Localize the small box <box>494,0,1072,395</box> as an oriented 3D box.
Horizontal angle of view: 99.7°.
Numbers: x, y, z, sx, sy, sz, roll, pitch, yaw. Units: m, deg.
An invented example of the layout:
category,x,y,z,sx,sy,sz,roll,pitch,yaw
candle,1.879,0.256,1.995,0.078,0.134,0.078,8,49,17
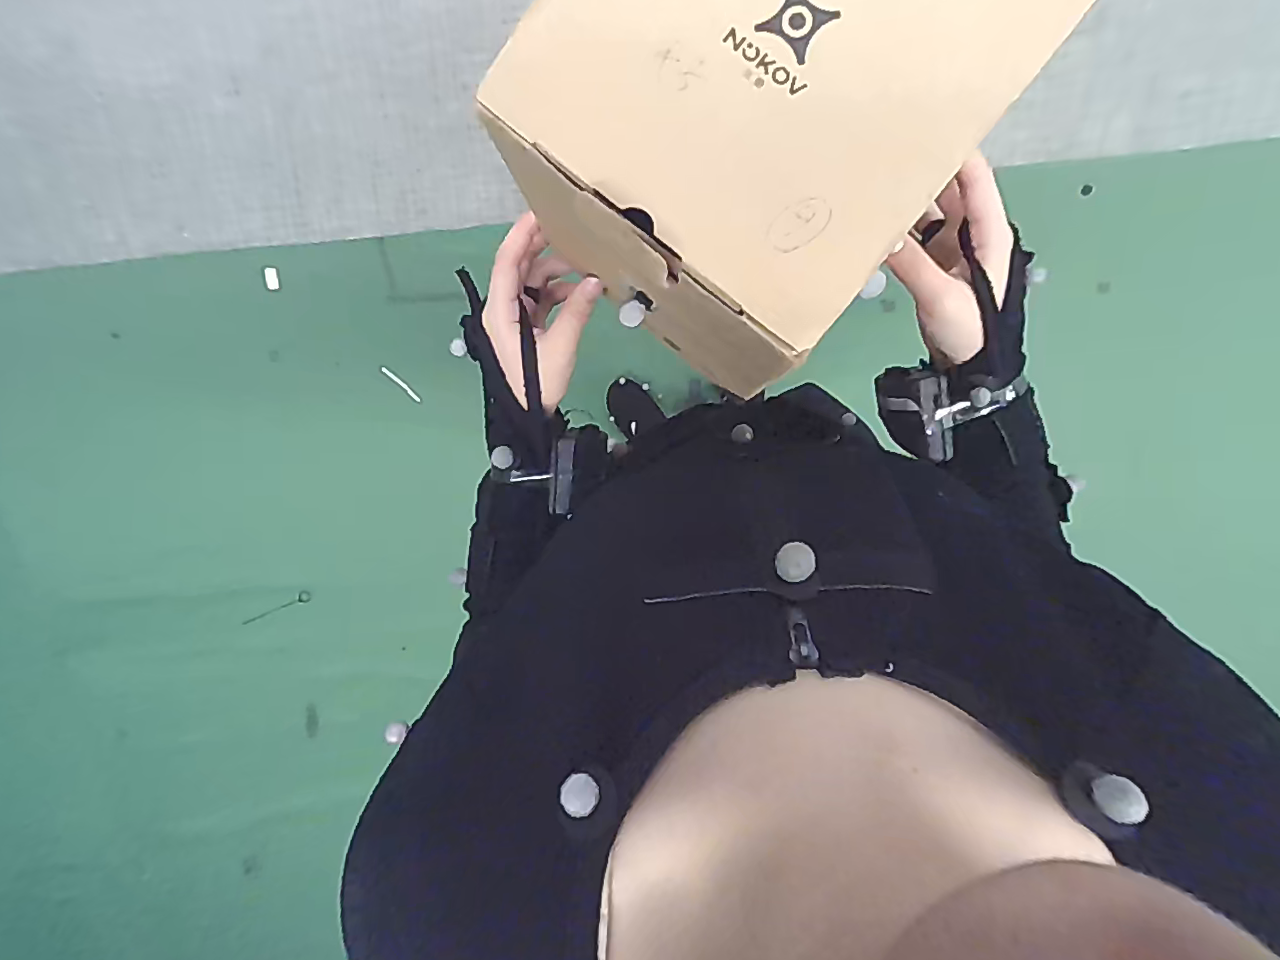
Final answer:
category,x,y,z,sx,sy,sz,roll,pitch,yaw
small box,0.059,-0.166,0.297,0.168,0.176,0.179,39,94,1
